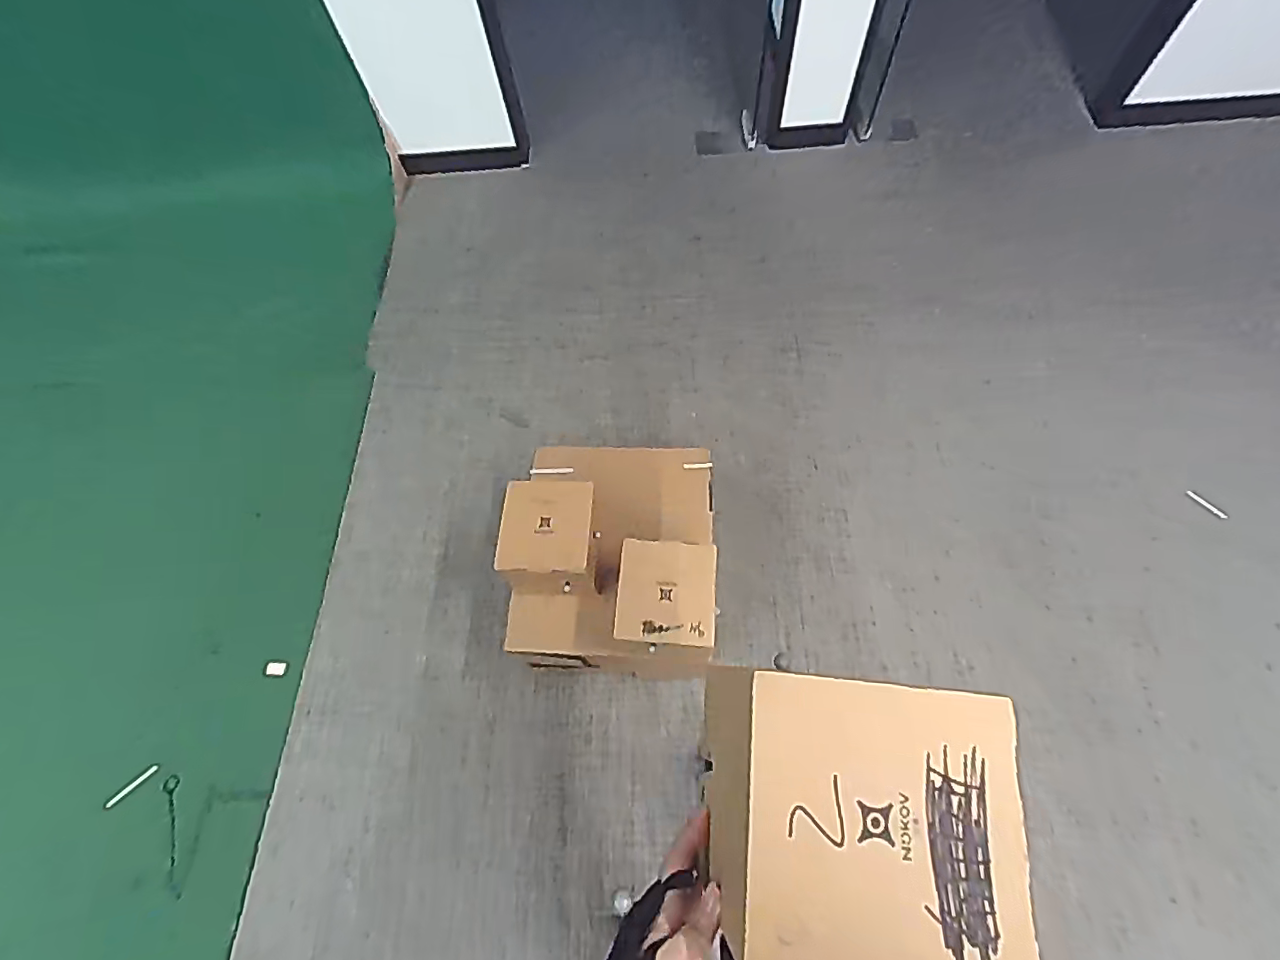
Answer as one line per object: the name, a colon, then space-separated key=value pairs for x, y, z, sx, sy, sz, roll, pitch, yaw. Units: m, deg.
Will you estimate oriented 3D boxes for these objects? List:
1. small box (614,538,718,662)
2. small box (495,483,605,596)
small box: x=0.049 y=0.221 z=0.977 sx=0.168 sy=0.176 sz=0.179 roll=3 pitch=64 yaw=5
small box: x=-0.164 y=0.120 z=1.046 sx=0.168 sy=0.176 sz=0.179 roll=1 pitch=63 yaw=5
